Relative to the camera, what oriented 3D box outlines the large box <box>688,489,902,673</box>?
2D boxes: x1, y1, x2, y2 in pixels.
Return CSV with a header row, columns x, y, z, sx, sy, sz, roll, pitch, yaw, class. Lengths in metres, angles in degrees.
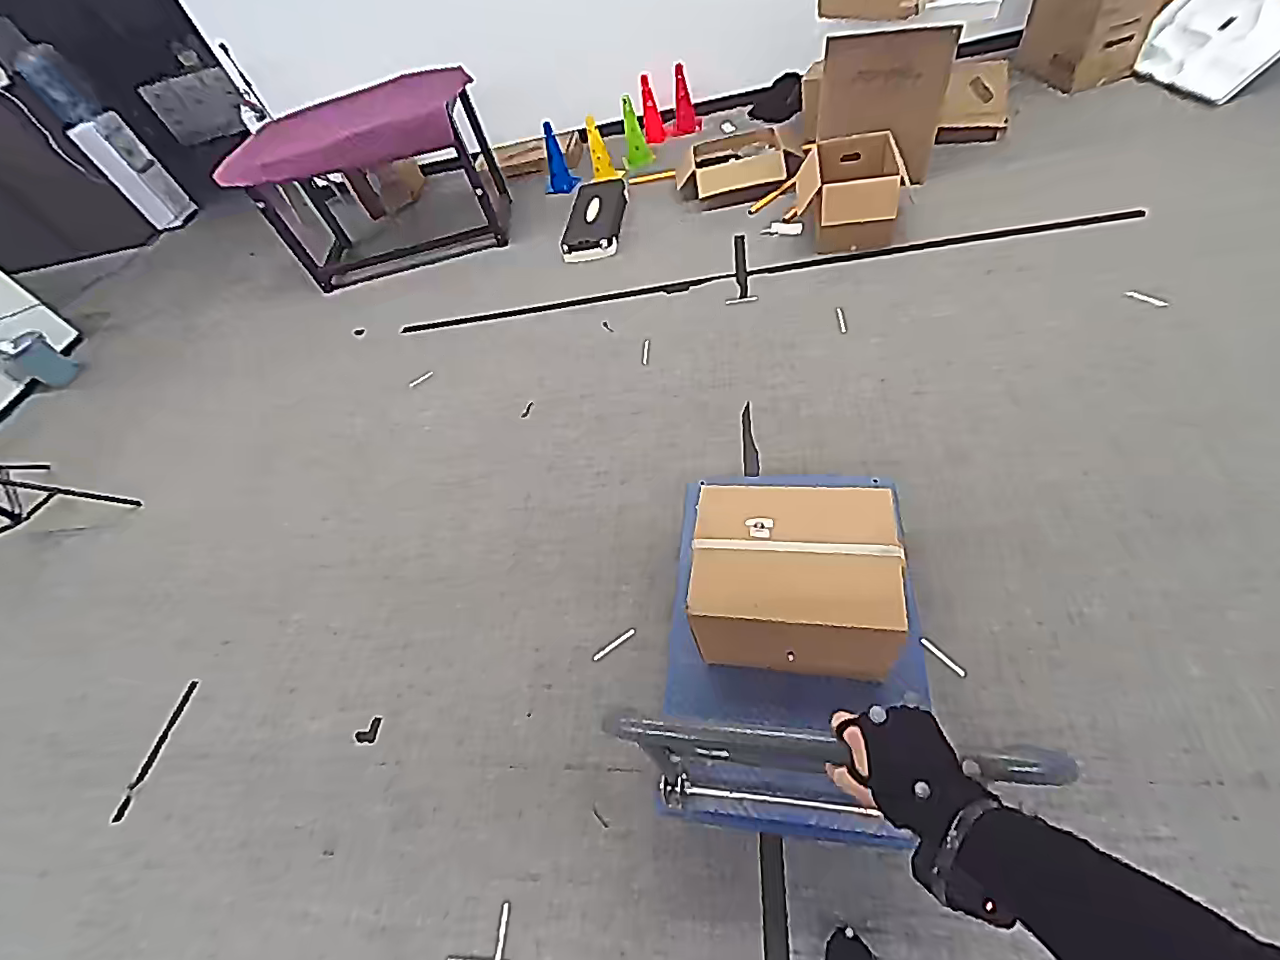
x,y,z,sx,sy,sz,roll,pitch,yaw,class
0.342,0.232,1.233,0.408,0.320,0.320,0,53,16,large box
